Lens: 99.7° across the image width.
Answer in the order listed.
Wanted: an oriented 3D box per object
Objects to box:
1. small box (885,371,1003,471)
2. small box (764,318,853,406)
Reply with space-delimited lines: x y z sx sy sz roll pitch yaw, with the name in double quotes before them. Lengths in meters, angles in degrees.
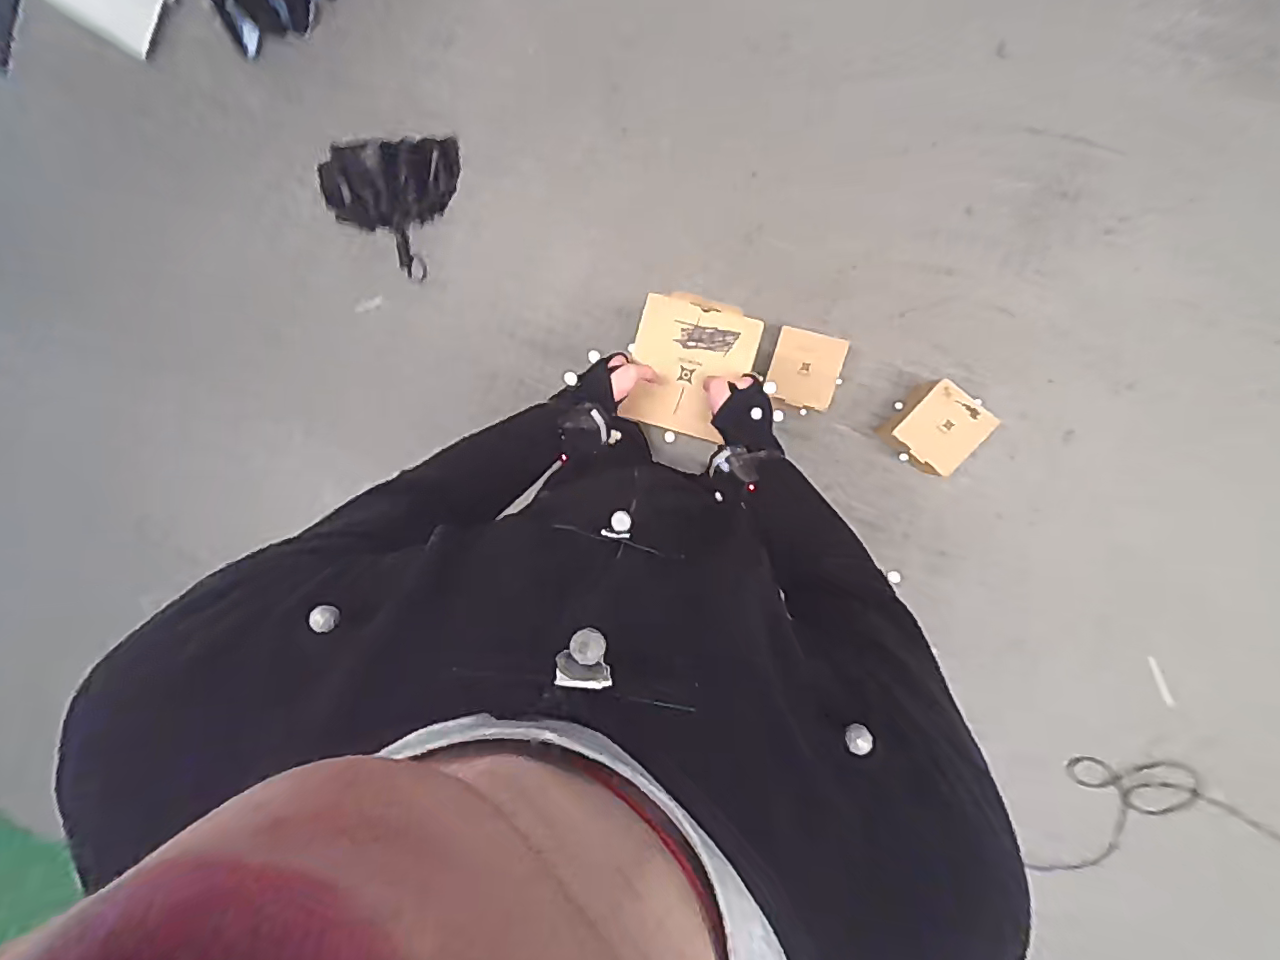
"small box" 0.733 -0.143 1.332 0.168 0.176 0.179 42 102 4
"small box" 0.419 -0.291 1.376 0.168 0.176 0.179 16 98 7
